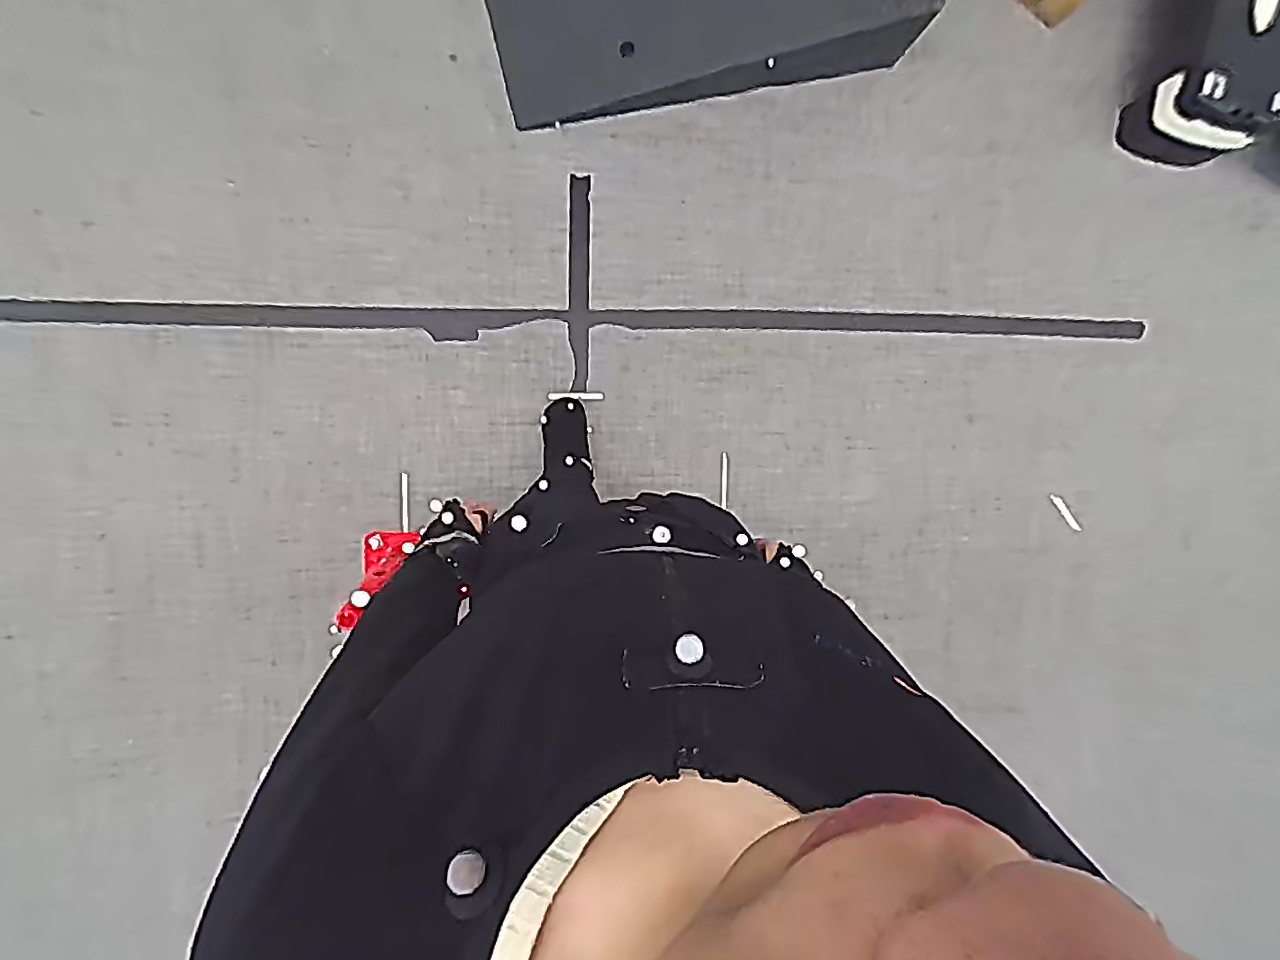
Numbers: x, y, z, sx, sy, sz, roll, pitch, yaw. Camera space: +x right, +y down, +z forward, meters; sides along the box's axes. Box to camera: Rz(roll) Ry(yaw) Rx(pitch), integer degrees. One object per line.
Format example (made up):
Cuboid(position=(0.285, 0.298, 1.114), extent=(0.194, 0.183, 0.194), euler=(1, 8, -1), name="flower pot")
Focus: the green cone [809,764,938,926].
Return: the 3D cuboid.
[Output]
Cuboid(position=(0.594, 0.917, 1.336), extent=(0.200, 0.368, 0.202), euler=(-11, 97, -6), name="green cone")
